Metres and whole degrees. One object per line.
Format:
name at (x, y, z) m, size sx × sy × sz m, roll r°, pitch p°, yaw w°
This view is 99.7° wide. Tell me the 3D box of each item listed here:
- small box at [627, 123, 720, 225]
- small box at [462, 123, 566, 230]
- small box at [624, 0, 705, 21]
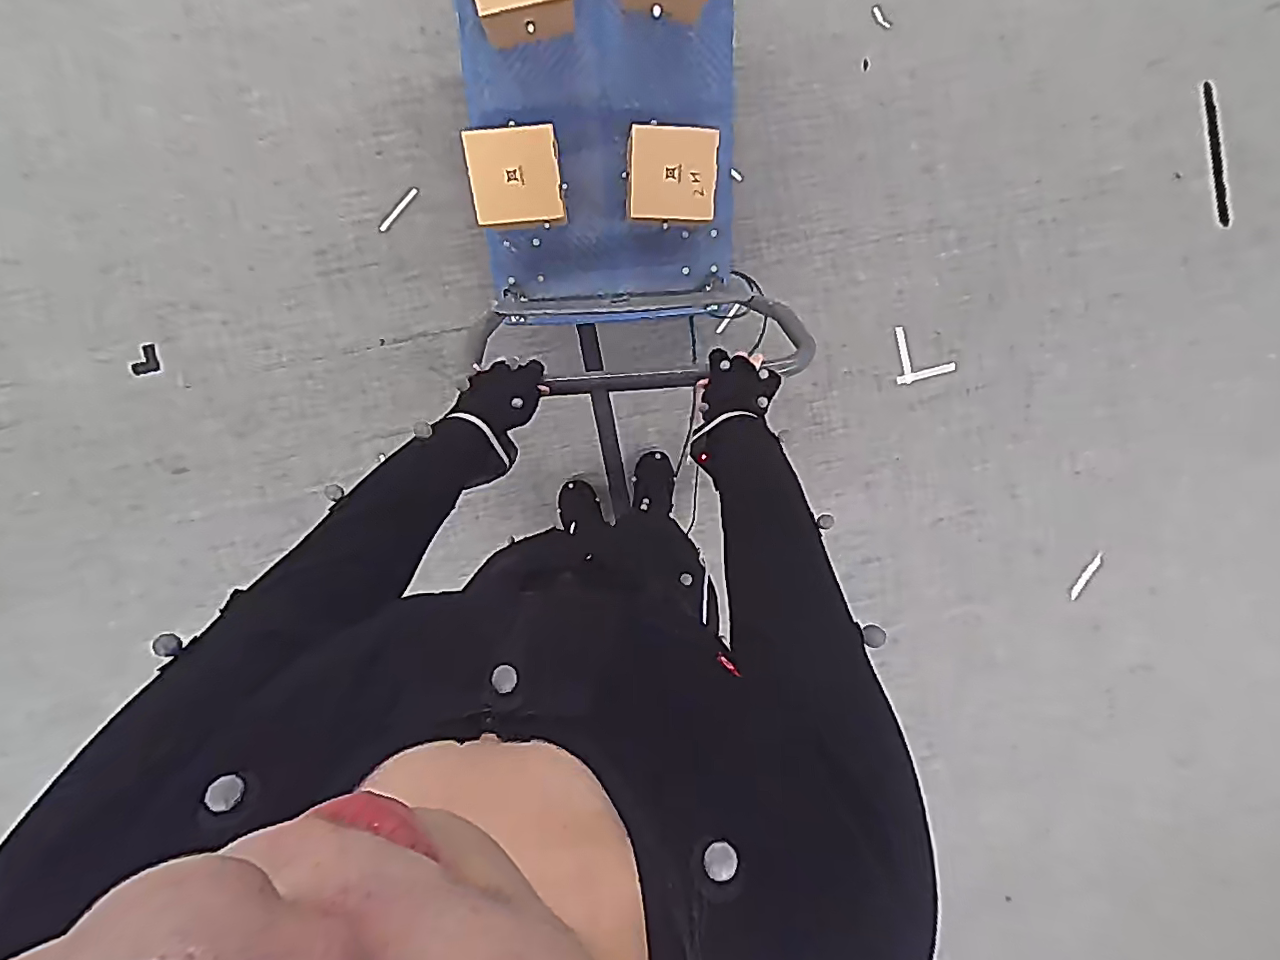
small box at (0.063, -0.645, 1.157) m, size 0.179 × 0.176 × 0.168 m, roll 0°, pitch 112°, yaw -5°
small box at (-0.254, -0.628, 1.134) m, size 0.179 × 0.176 × 0.168 m, roll -8°, pitch 112°, yaw -4°
small box at (0.056, -1.014, 1.012) m, size 0.168 × 0.176 × 0.179 m, roll 5°, pitch 112°, yaw -8°
